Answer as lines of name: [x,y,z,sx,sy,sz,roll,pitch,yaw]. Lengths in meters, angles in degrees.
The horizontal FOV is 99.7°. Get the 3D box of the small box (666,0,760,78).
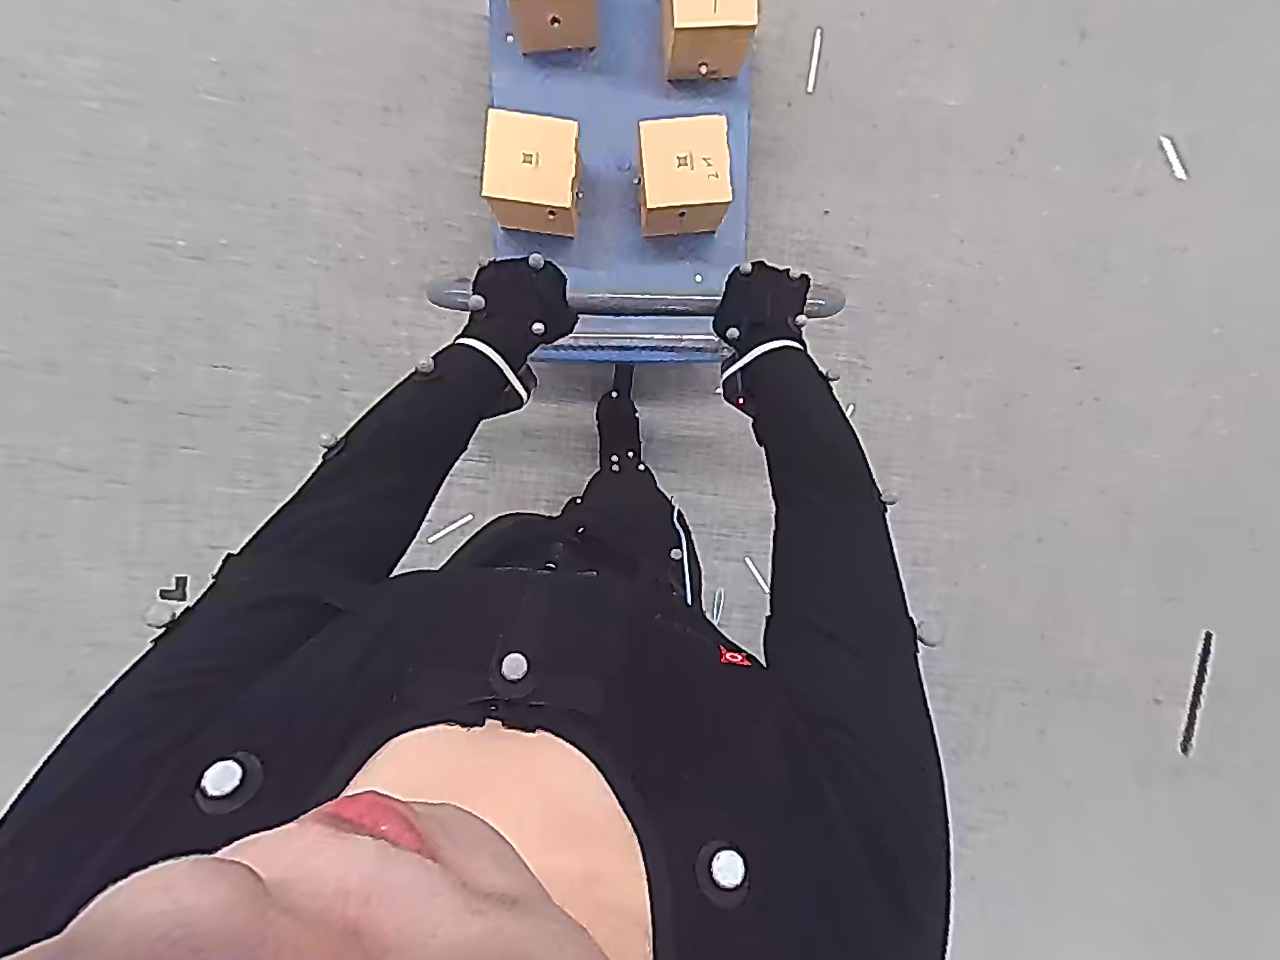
small box: [0.144,-0.976,1.117,0.168,0.176,0.179,-3,98,-2]

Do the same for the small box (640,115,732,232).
small box: [0.091,-0.643,1.153,0.179,0.176,0.168,-5,97,-2]

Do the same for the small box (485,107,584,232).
small box: [-0.214,-0.642,1.139,0.179,0.176,0.168,6,96,-5]
